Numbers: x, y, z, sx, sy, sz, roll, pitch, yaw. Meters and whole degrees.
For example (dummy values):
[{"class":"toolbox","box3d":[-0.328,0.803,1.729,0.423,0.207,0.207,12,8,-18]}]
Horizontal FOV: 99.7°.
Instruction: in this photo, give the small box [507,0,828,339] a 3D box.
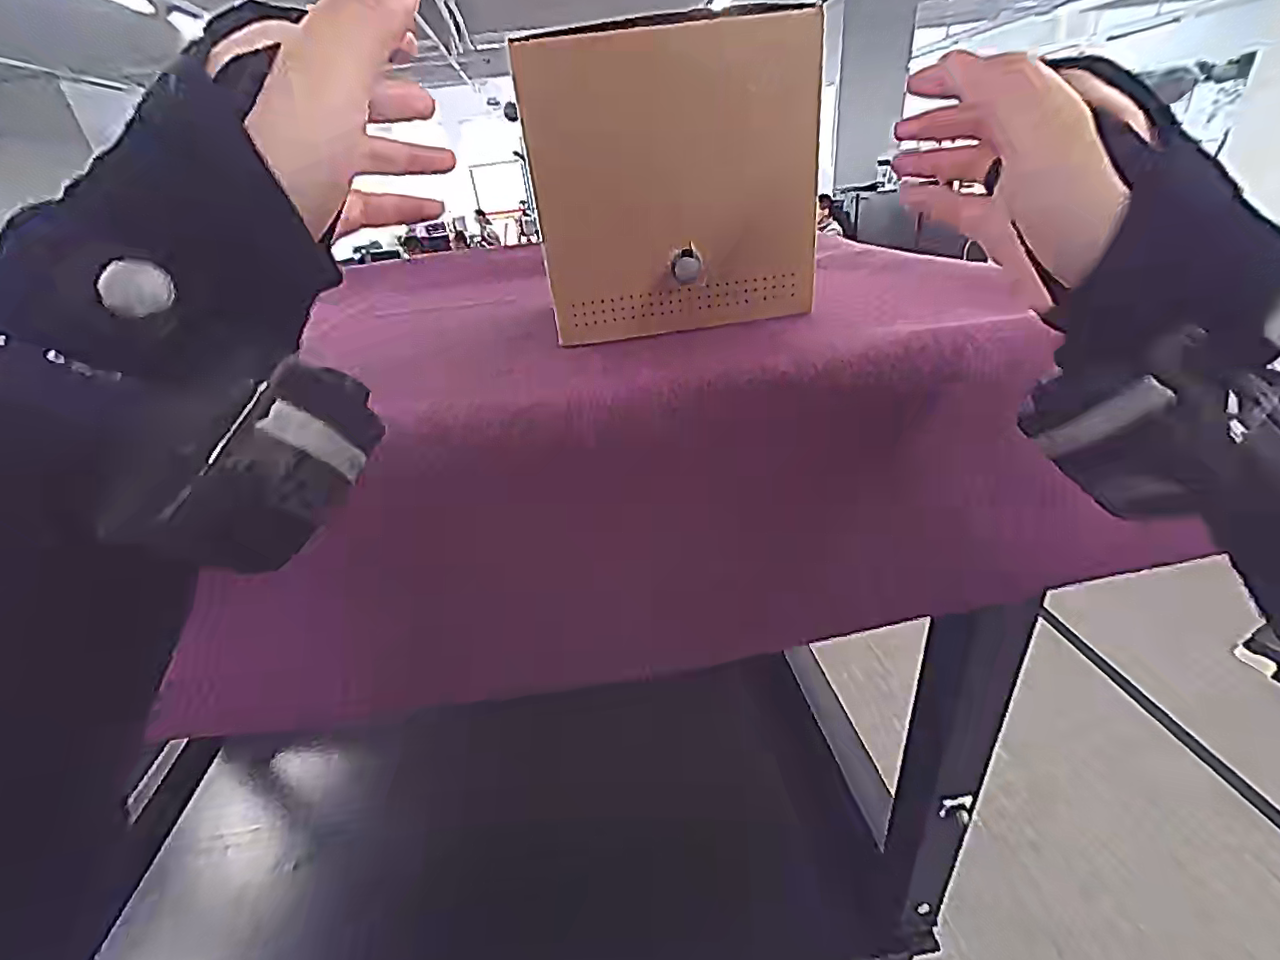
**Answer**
[{"class":"small box","box3d":[0.015,-0.211,0.392,0.179,0.176,0.168,-9,28,-3]}]
